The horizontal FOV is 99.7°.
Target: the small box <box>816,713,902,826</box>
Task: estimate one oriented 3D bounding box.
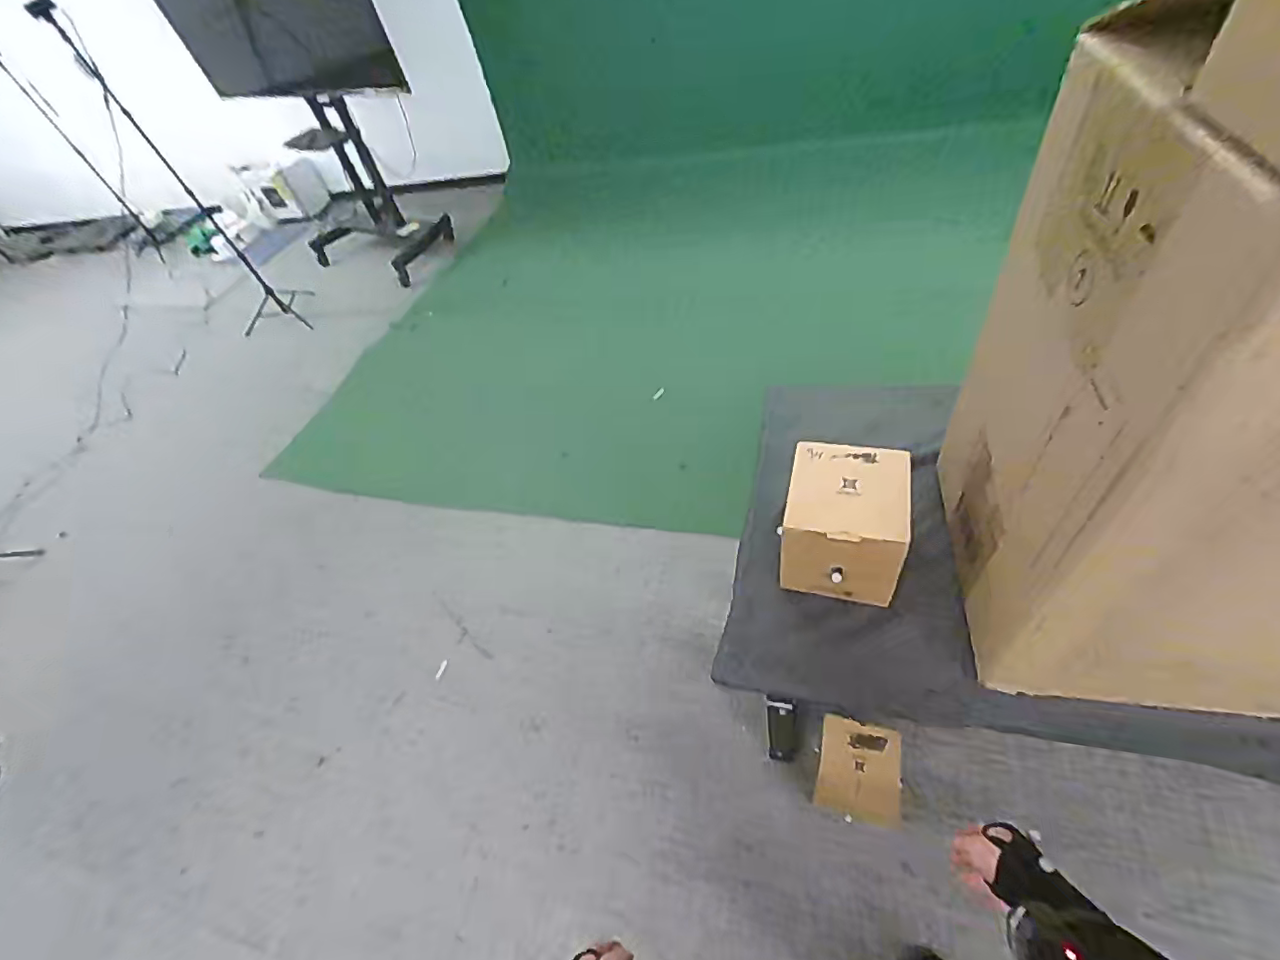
[{"bbox_3d":[0.508,0.677,1.264,0.168,0.176,0.179,7,54,21],"label":"small box"}]
